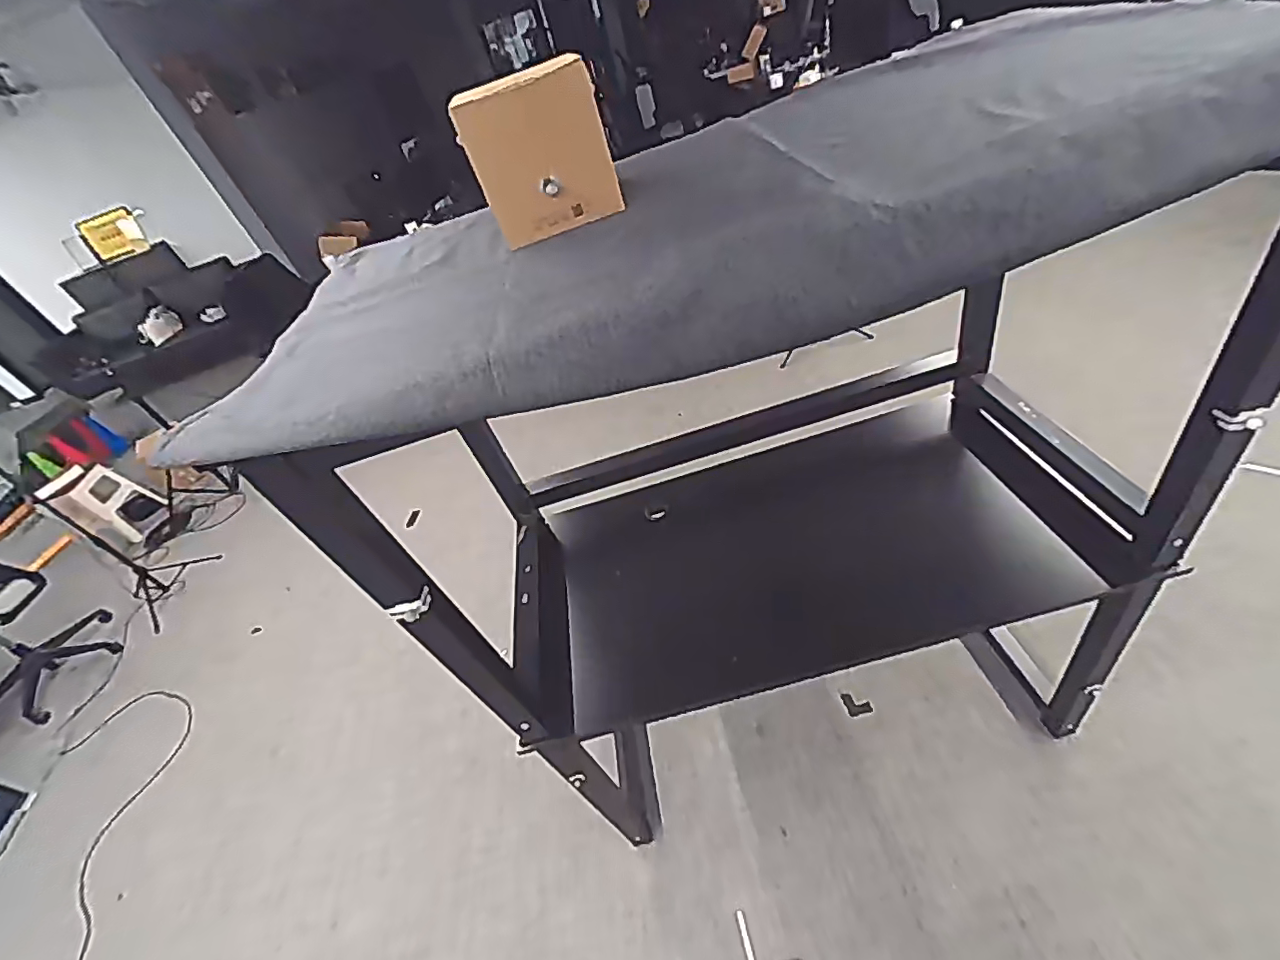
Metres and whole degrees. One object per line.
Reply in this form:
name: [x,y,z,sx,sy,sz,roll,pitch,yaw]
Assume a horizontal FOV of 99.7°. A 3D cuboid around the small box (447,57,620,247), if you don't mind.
small box: [-0.137,-0.439,0.728,0.168,0.176,0.179,-20,41,2]
